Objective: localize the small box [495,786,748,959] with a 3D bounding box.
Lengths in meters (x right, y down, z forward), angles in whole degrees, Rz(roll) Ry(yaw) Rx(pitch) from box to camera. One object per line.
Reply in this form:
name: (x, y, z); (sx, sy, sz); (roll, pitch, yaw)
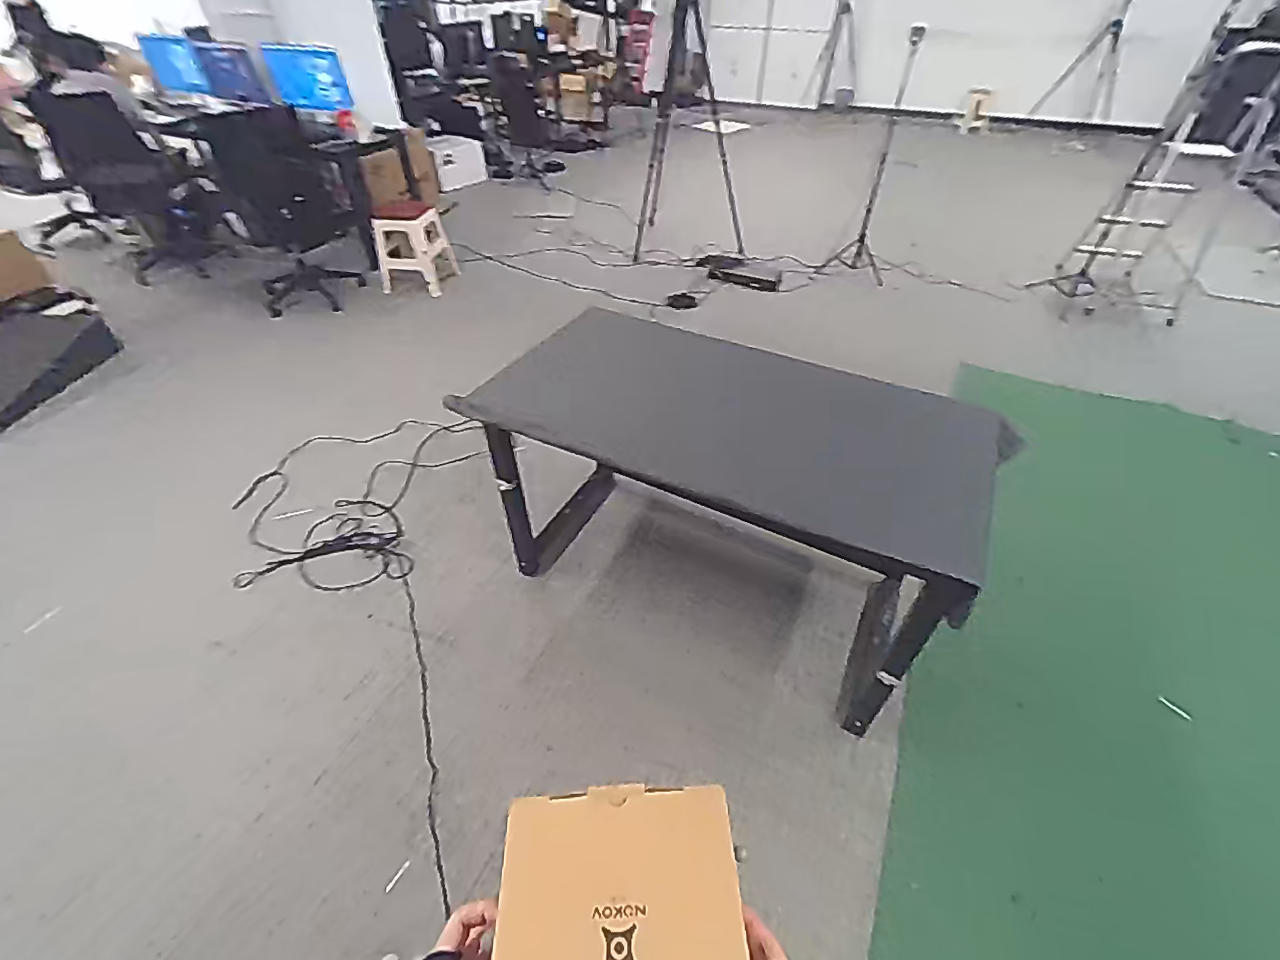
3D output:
small box: (-0.008, 0.357, 0.405); (0.168, 0.176, 0.179); (-3, 41, 0)
